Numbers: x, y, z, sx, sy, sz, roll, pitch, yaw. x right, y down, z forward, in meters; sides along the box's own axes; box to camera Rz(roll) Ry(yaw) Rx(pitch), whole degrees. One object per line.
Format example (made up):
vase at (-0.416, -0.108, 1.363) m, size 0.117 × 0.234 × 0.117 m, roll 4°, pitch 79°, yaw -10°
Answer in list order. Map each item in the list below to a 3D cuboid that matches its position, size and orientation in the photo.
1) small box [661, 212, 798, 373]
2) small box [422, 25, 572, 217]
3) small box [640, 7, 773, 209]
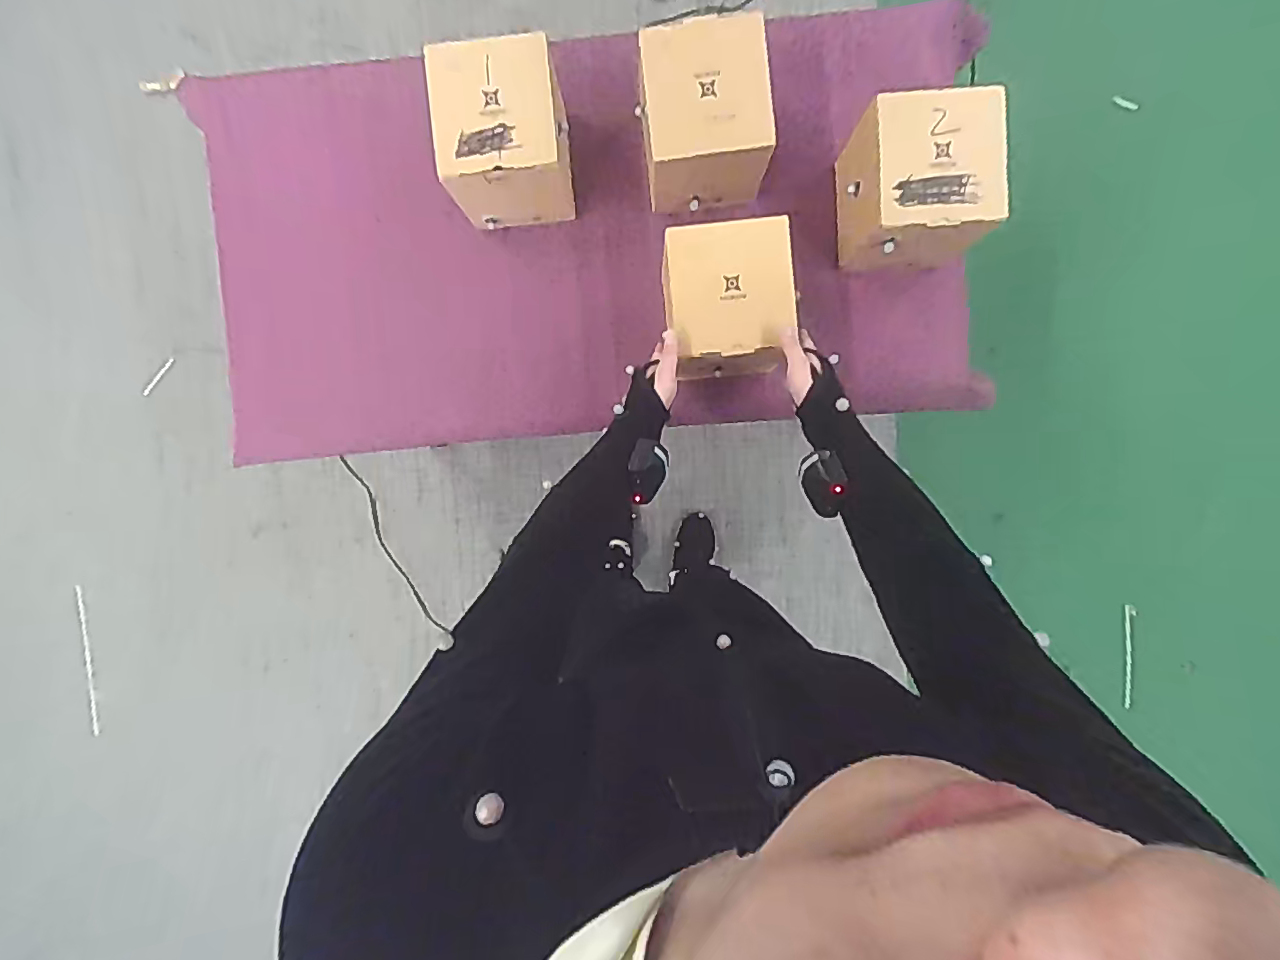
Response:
small box at (0.121, -0.263, 0.794) m, size 0.168 × 0.176 × 0.179 m, roll -5°, pitch 92°, yaw 1°
small box at (-0.196, -0.504, 0.788) m, size 0.168 × 0.176 × 0.179 m, roll -5°, pitch 92°, yaw 1°
small box at (0.088, -0.525, 0.786) m, size 0.168 × 0.176 × 0.179 m, roll -6°, pitch 93°, yaw 2°
